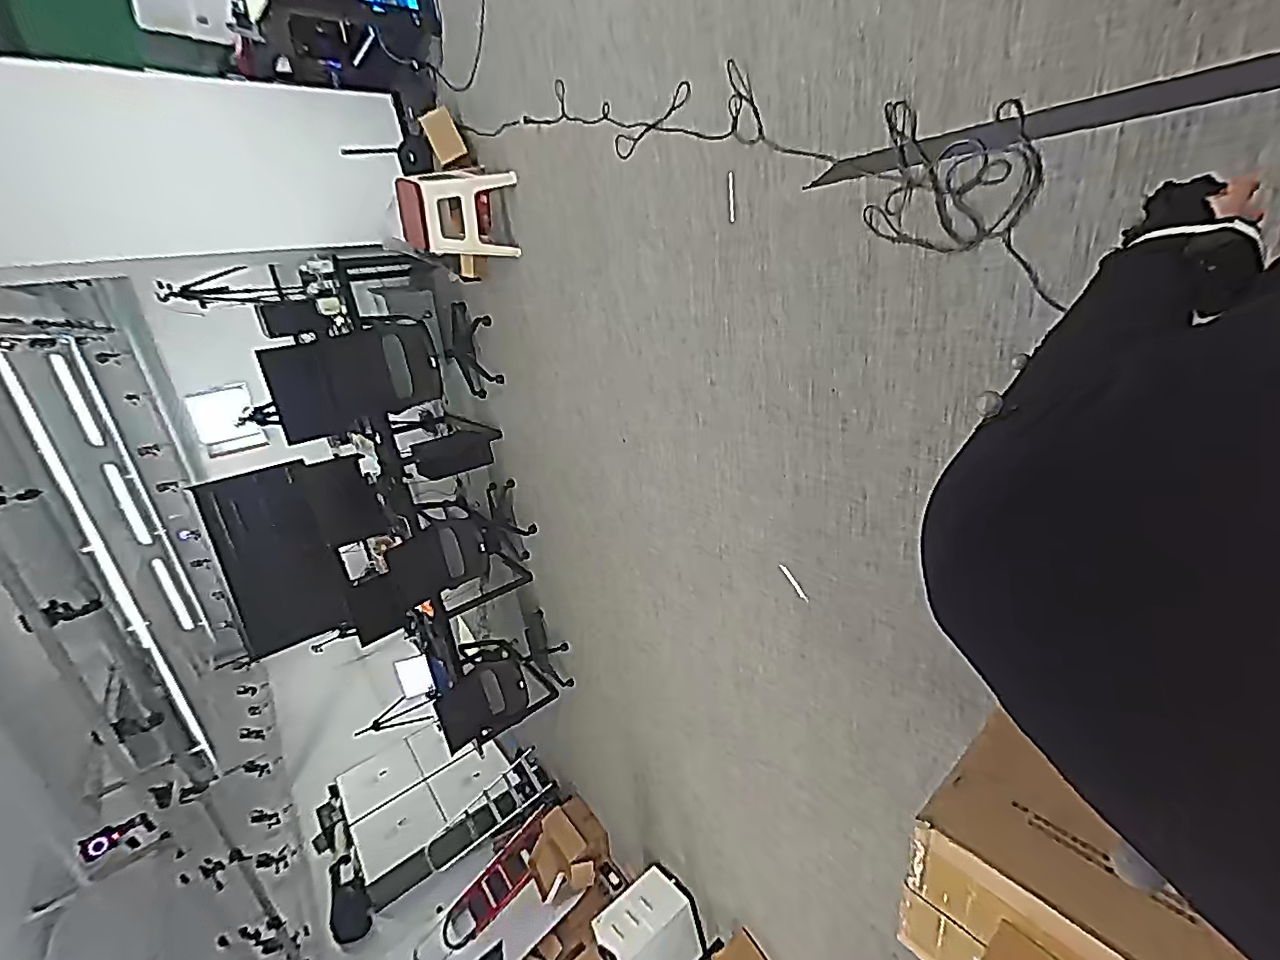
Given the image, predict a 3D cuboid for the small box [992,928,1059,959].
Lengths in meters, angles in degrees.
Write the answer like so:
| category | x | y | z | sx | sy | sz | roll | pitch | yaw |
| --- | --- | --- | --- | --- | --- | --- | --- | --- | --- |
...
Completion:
| category | x | y | z | sx | sy | sz | roll | pitch | yaw |
| --- | --- | --- | --- | --- | --- | --- | --- | --- | --- |
| small box | 0.652 | 0.898 | 0.875 | 0.179 | 0.176 | 0.168 | 23 | 126 | 49 |
